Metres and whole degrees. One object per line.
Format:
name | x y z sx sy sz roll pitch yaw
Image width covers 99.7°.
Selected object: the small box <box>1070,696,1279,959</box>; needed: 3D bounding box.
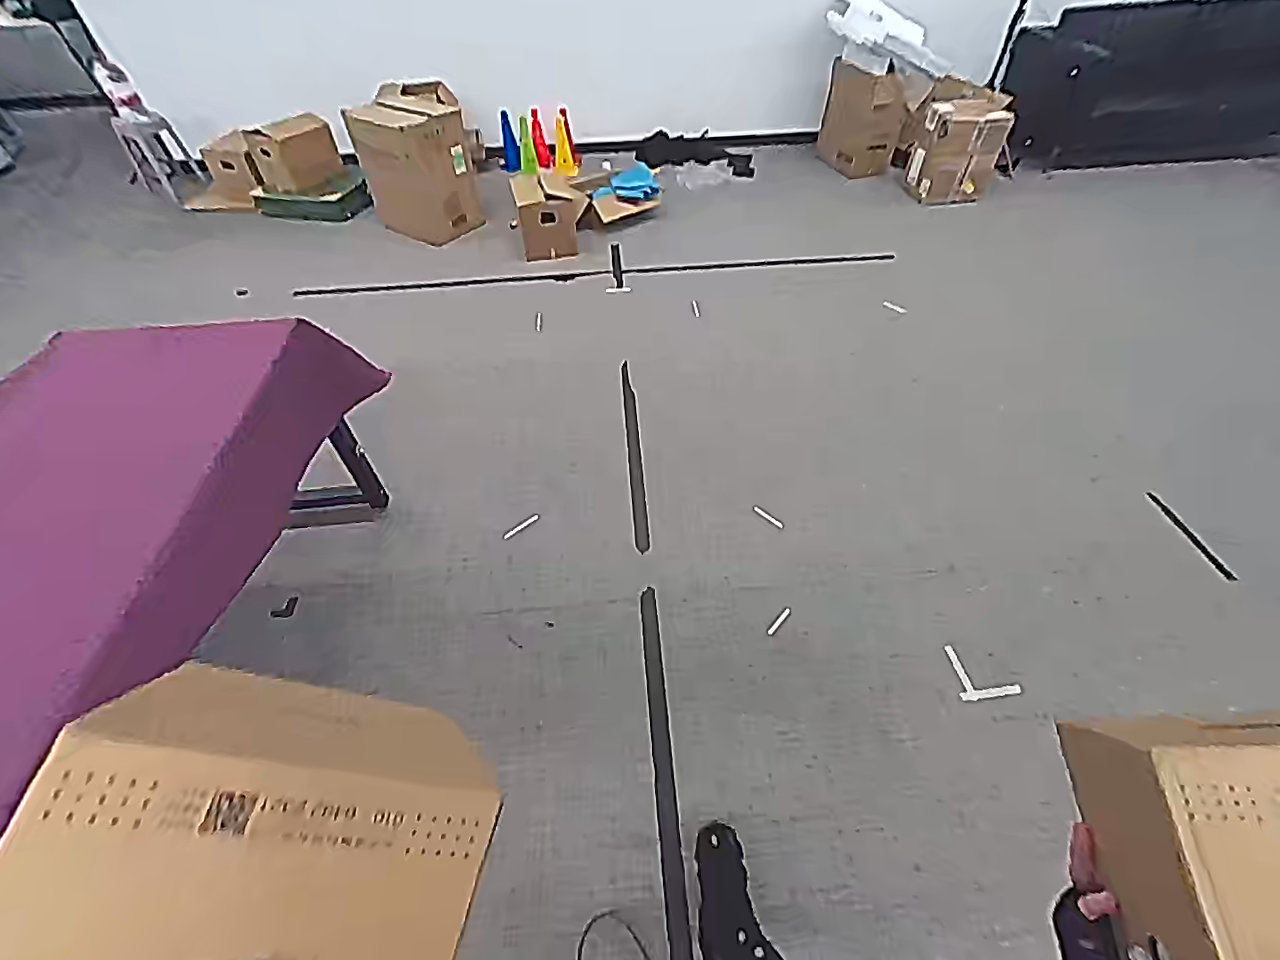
small box | 0.377 0.216 0.297 0.168 0.179 0.176 -9 70 20
